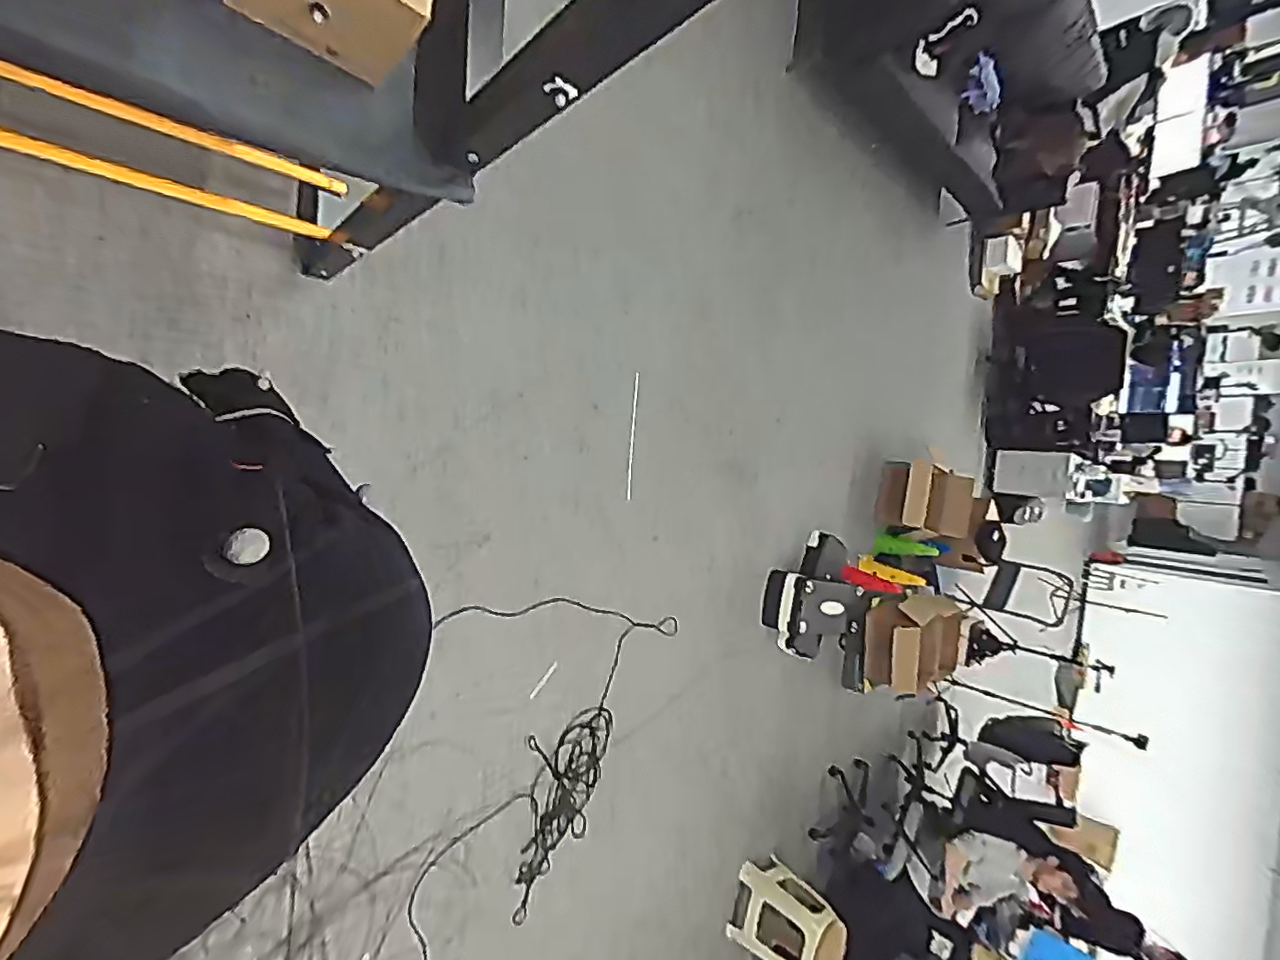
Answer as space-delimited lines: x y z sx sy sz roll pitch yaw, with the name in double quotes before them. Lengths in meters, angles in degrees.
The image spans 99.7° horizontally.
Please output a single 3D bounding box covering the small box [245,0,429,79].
"small box" -0.332 -0.594 0.586 0.168 0.176 0.179 7 89 -44
